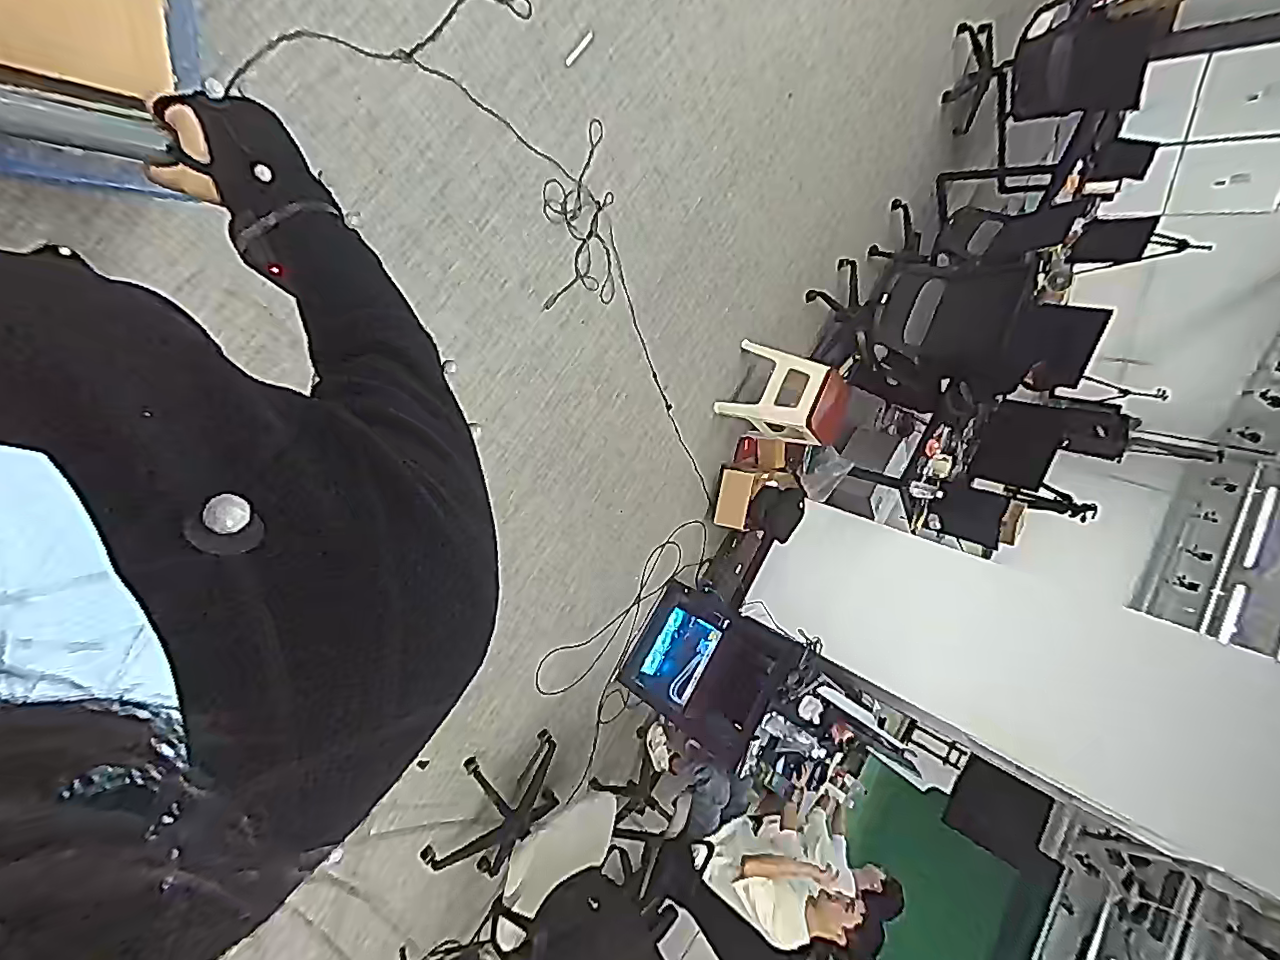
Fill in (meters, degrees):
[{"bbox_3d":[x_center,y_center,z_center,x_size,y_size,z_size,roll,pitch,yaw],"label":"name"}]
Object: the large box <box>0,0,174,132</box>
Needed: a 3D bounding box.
[{"bbox_3d":[-0.850,-0.646,0.624,0.408,0.320,0.320,-14,117,-46],"label":"large box"}]
